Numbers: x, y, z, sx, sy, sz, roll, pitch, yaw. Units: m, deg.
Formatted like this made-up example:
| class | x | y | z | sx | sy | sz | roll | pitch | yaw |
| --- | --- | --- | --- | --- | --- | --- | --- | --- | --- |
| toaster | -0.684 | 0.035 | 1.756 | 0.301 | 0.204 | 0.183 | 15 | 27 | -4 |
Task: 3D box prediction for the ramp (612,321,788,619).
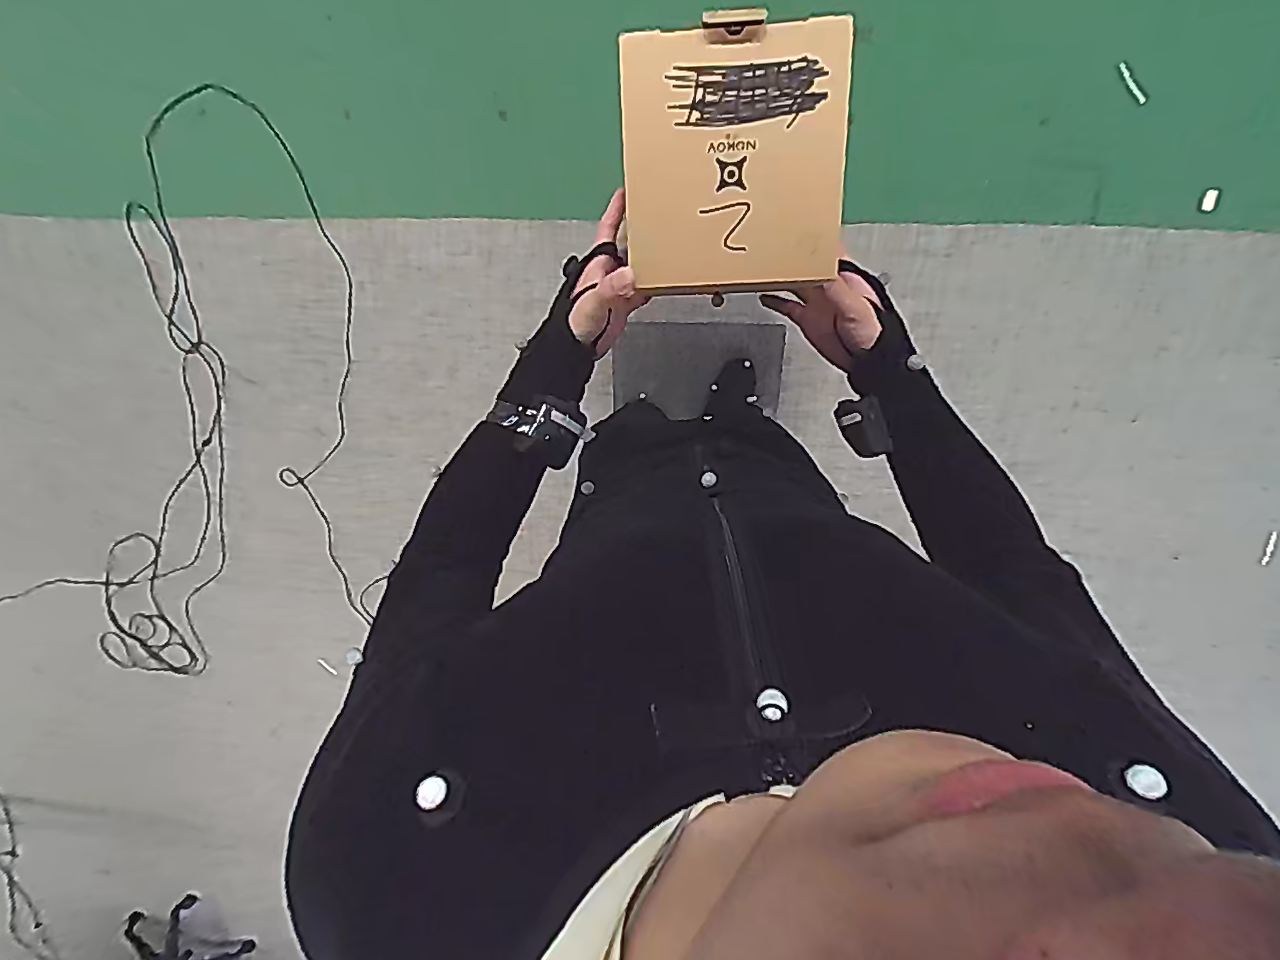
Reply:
| class | x | y | z | sx | sy | sz | roll | pitch | yaw |
| --- | --- | --- | --- | --- | --- | --- | --- | --- | --- |
| ramp | 0.168 | 0.017 | 1.691 | 0.509 | 0.206 | 0.991 | 1 | 104 | 6 |
